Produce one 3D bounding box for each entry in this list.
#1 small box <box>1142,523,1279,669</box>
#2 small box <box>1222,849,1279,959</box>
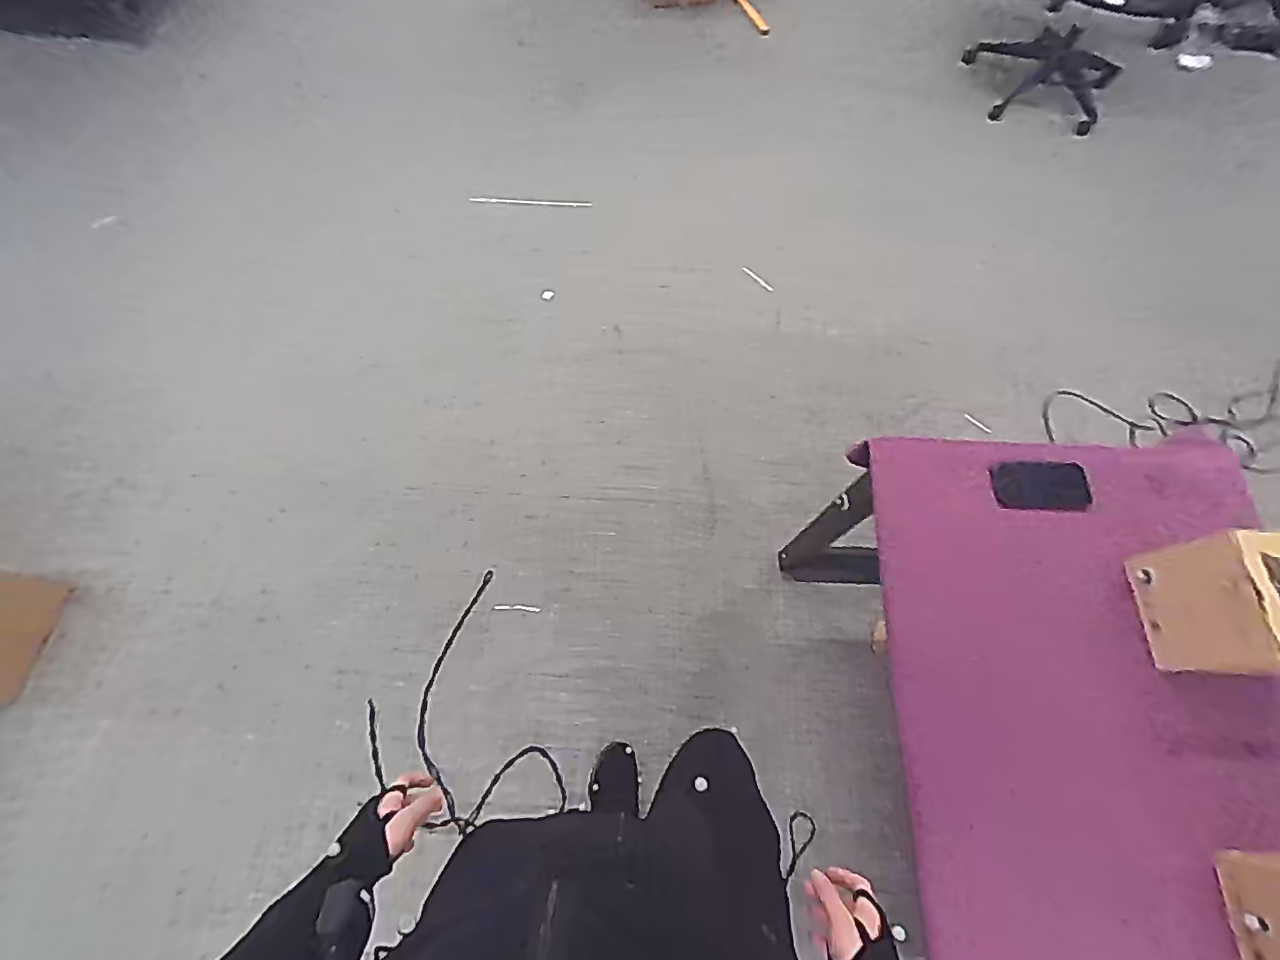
[{"bbox_3d":[0.837,0.163,0.726,0.179,0.176,0.168,2,68,0],"label":"small box"},{"bbox_3d":[0.823,0.521,0.588,0.179,0.176,0.168,3,68,1],"label":"small box"}]
